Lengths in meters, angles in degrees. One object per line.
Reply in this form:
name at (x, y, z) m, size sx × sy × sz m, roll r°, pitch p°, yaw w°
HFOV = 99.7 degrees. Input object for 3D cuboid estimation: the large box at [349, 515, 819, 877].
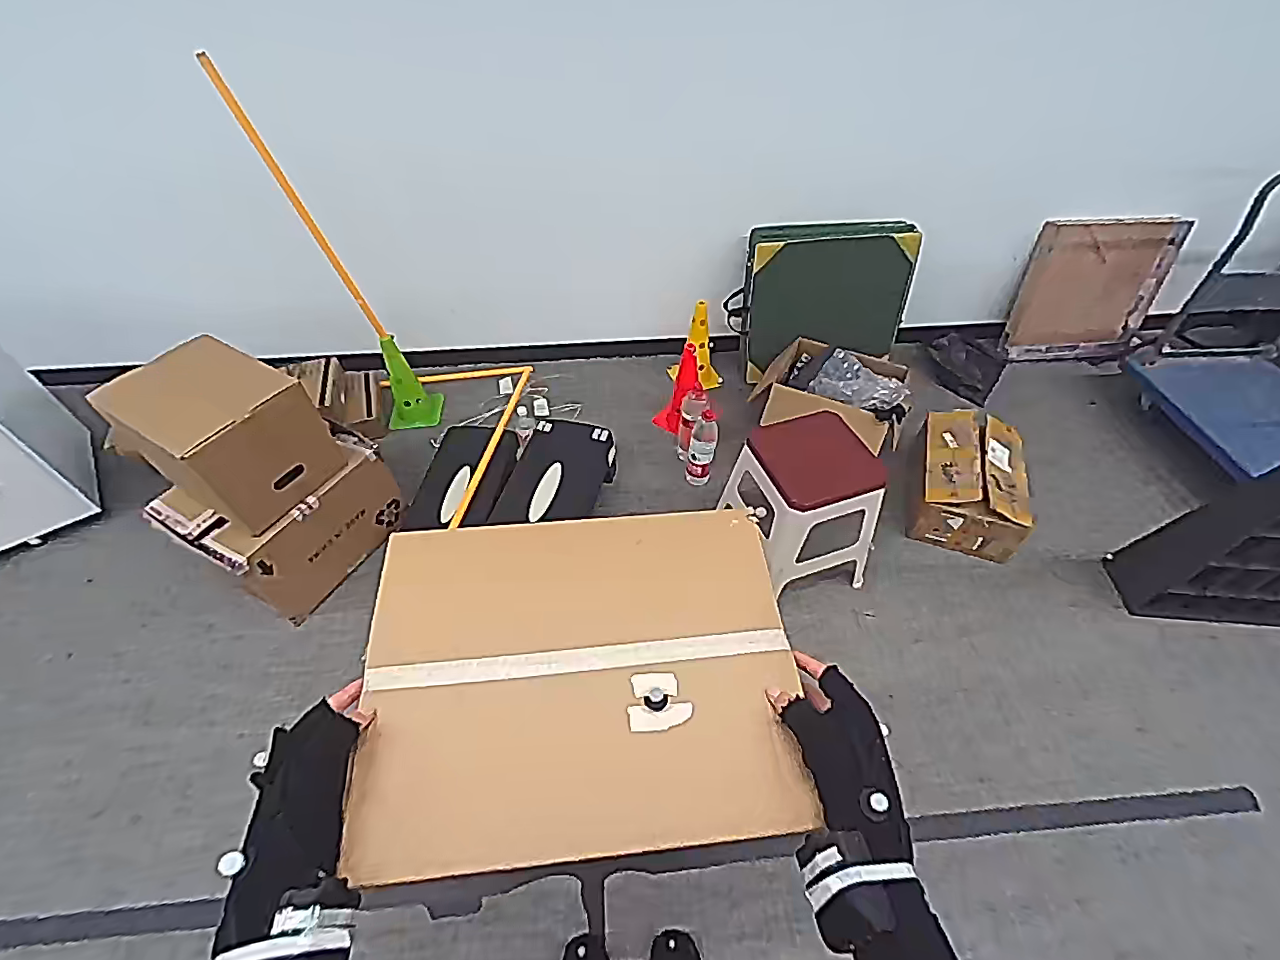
large box at (-0.061, 0.265, 0.656) m, size 0.408 × 0.320 × 0.320 m, roll -3°, pitch 55°, yaw -5°
